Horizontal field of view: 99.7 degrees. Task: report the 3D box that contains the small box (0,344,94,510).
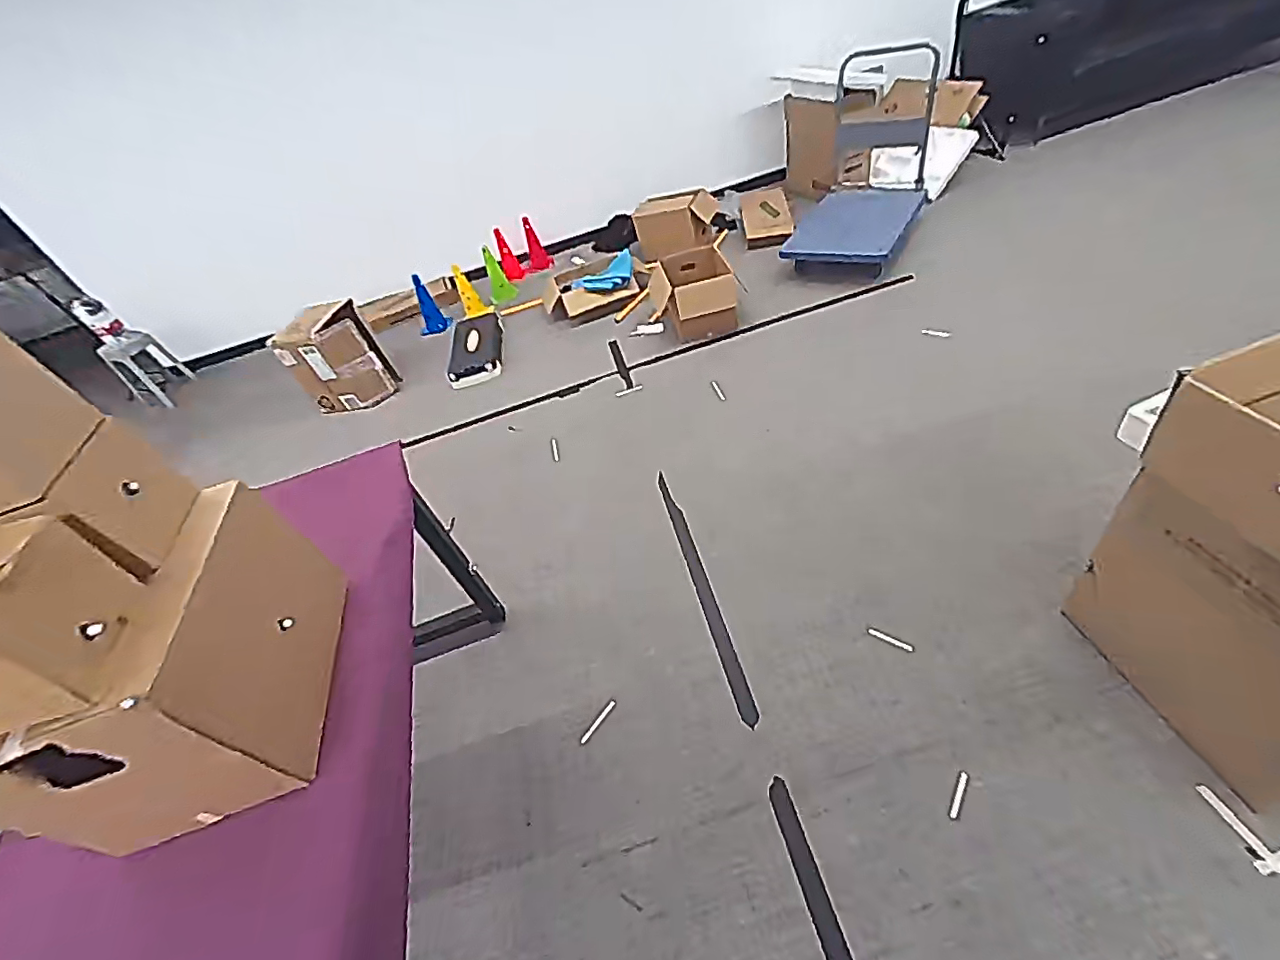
[{"bbox_3d":[-0.836,-0.060,0.650,0.168,0.176,0.179,-19,44,-1],"label":"small box"}]
